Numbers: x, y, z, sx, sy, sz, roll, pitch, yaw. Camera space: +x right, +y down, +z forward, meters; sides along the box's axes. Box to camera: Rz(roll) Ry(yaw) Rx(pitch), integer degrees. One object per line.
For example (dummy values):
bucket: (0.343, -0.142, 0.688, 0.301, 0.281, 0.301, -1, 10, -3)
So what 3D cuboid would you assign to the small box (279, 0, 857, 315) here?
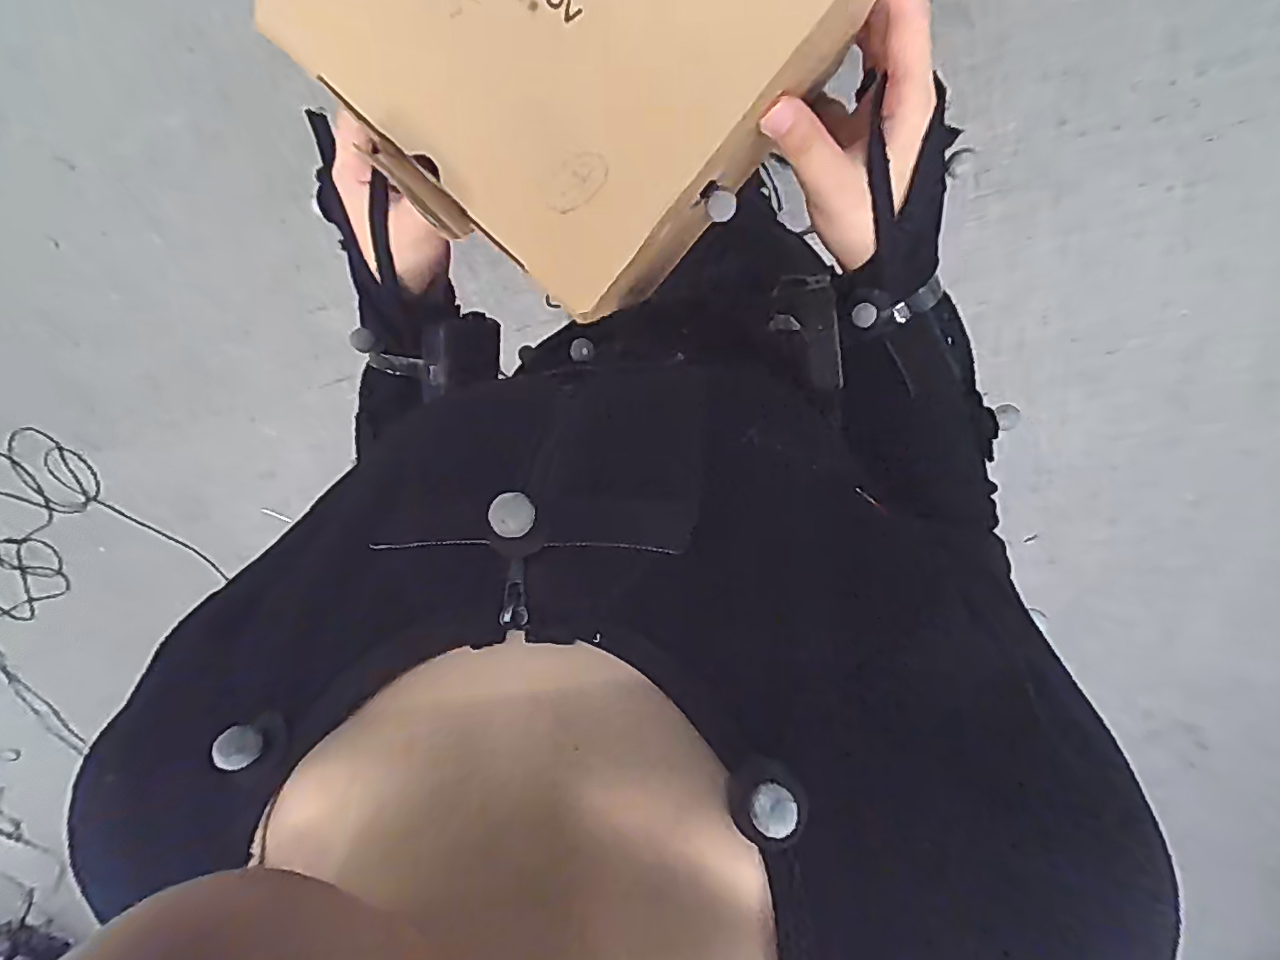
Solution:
small box: (-0.014, -0.207, 0.261, 0.168, 0.176, 0.179, 41, 113, -7)
